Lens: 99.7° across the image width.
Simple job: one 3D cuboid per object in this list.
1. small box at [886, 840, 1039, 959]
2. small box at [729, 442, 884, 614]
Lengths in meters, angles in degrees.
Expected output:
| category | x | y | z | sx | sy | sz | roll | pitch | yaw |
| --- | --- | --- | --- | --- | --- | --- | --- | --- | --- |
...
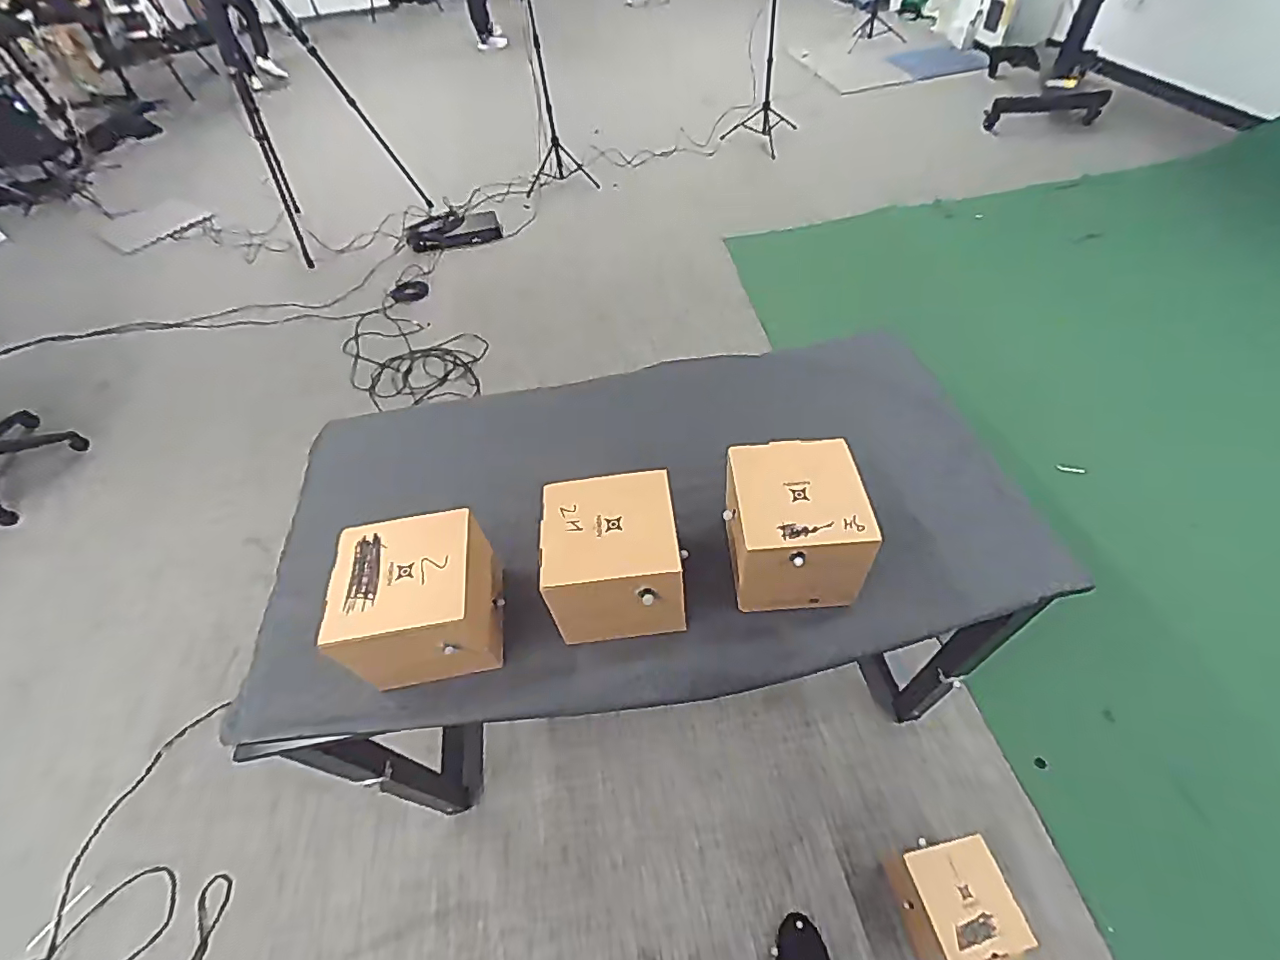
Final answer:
| category | x | y | z | sx | sy | sz | roll | pitch | yaw |
| --- | --- | --- | --- | --- | --- | --- | --- | --- | --- |
| small box | 0.611 | 0.827 | 1.051 | 0.168 | 0.176 | 0.179 | -12 | 51 | -3 |
| small box | 0.217 | 0.069 | 0.763 | 0.168 | 0.176 | 0.179 | -4 | 49 | 4 |
